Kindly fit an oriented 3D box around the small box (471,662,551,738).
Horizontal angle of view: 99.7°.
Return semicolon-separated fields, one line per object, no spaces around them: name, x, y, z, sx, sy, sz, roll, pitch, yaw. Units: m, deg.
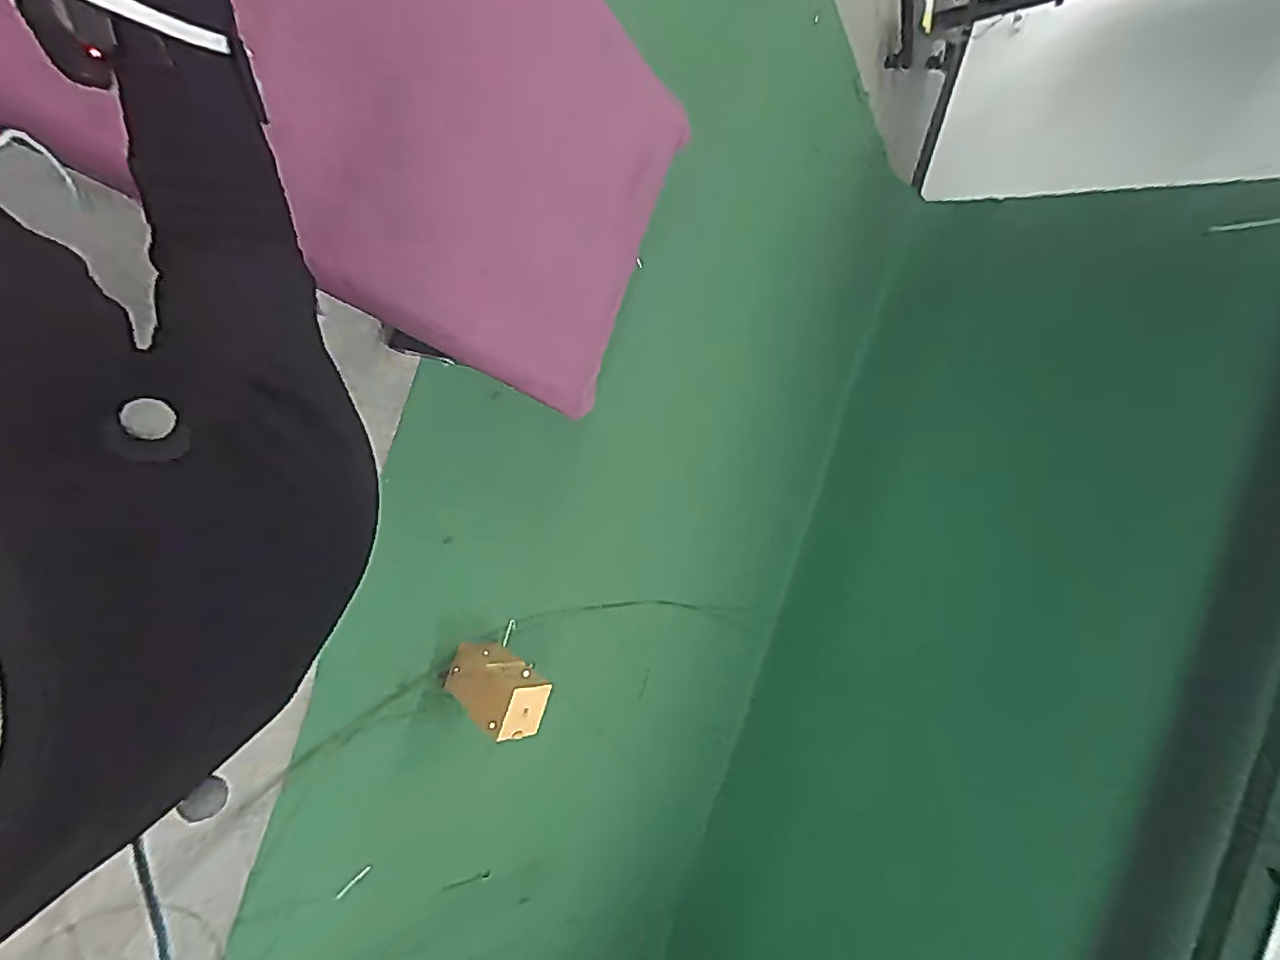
small box;-0.428;0.715;1.785;0.168;0.176;0.179;19;90;-51
